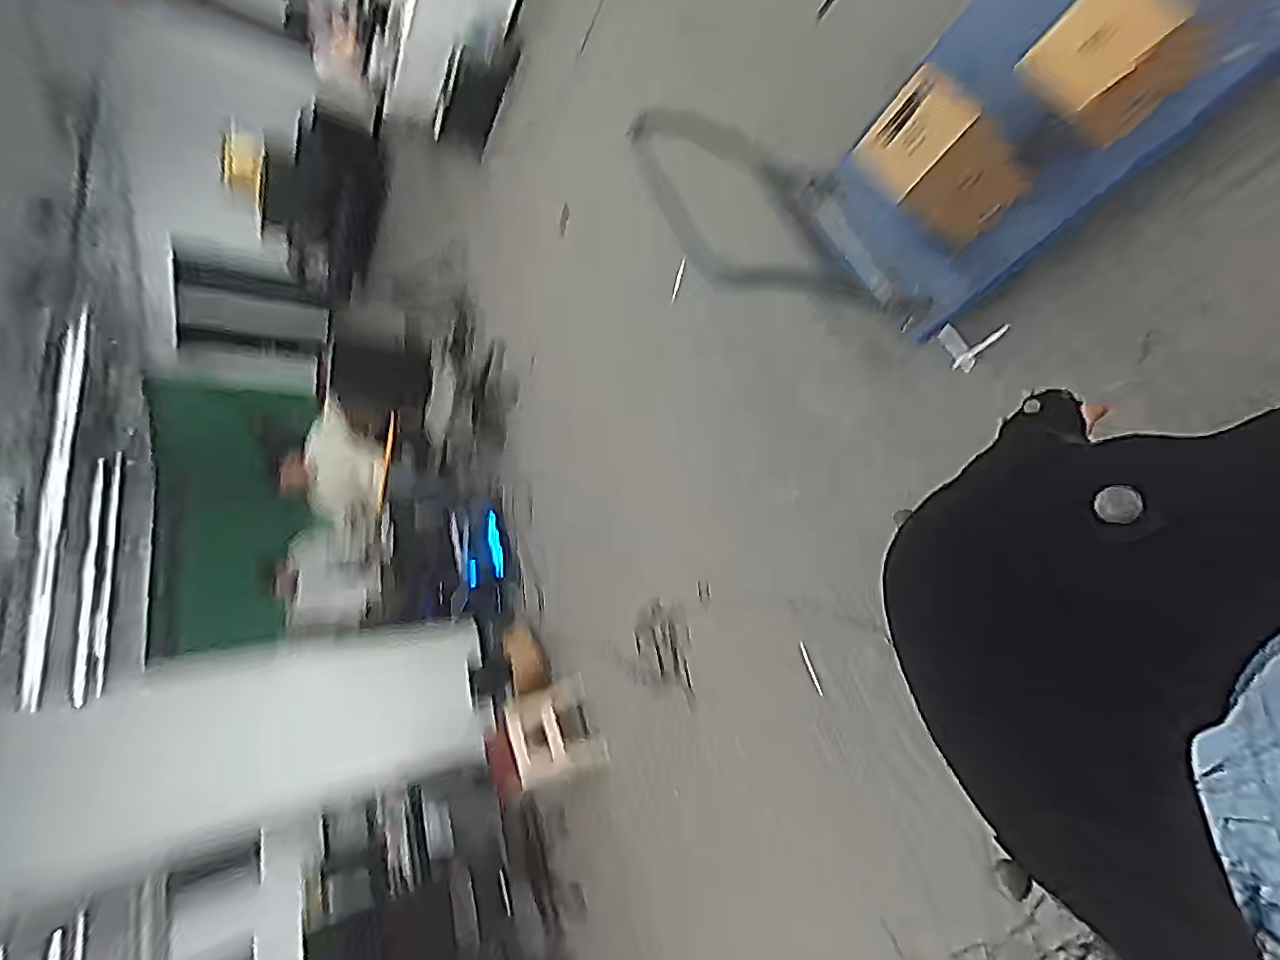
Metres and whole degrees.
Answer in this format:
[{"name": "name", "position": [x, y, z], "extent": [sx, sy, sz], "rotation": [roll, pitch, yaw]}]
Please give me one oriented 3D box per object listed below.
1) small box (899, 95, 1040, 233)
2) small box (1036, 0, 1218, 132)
[{"name": "small box", "position": [0.707, -0.666, 1.162], "extent": [0.168, 0.176, 0.179], "rotation": [-45, 56, 43]}, {"name": "small box", "position": [0.862, -0.767, 0.962], "extent": [0.168, 0.176, 0.179], "rotation": [-44, 57, 43]}]
